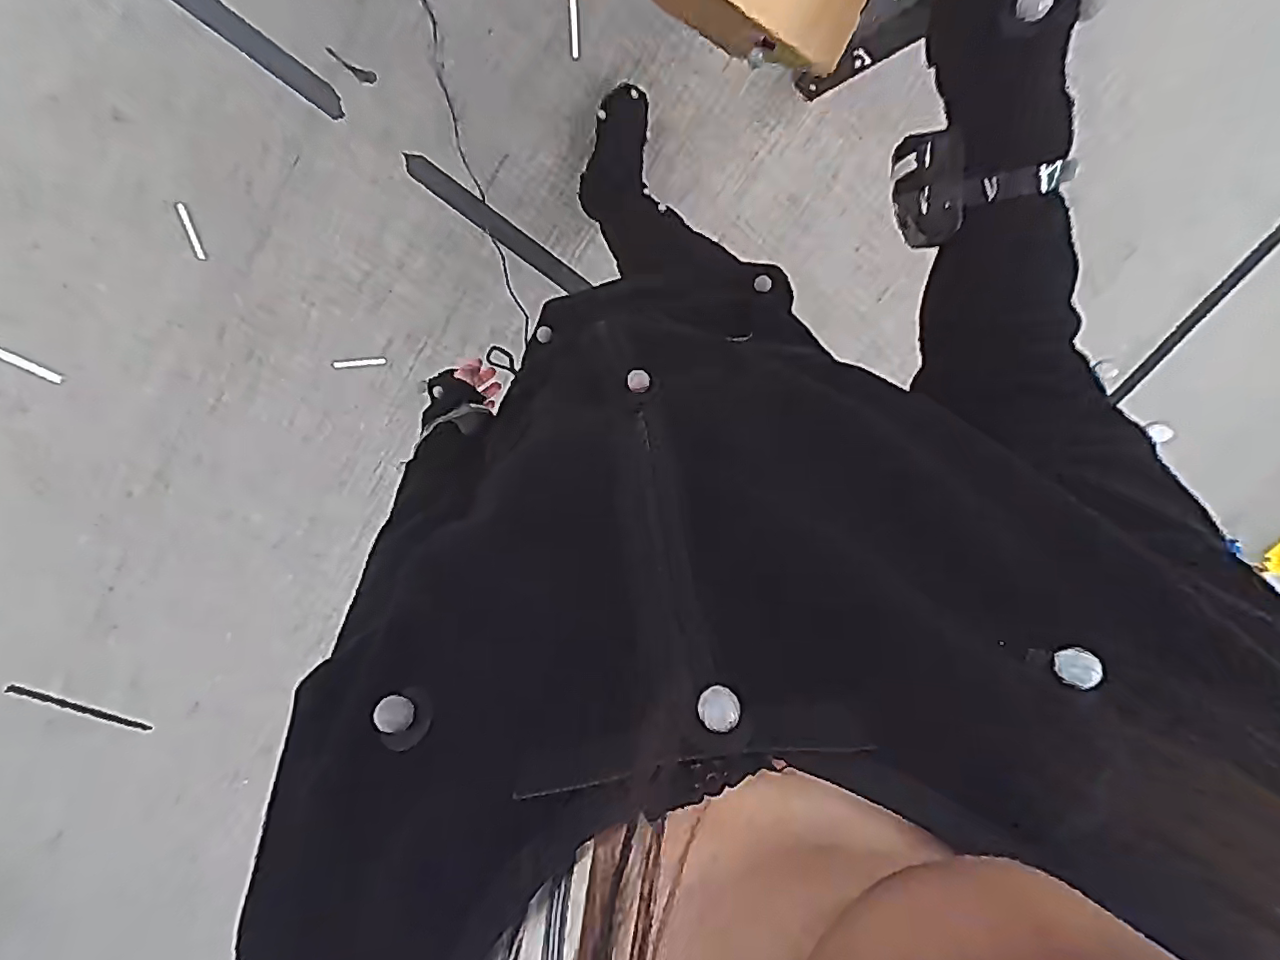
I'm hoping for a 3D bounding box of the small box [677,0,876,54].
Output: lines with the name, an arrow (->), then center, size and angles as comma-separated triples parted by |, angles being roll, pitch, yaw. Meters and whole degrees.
small box -> 0.064, -0.386, 0.311 | 0.179, 0.176, 0.168 | 10, 126, -28
